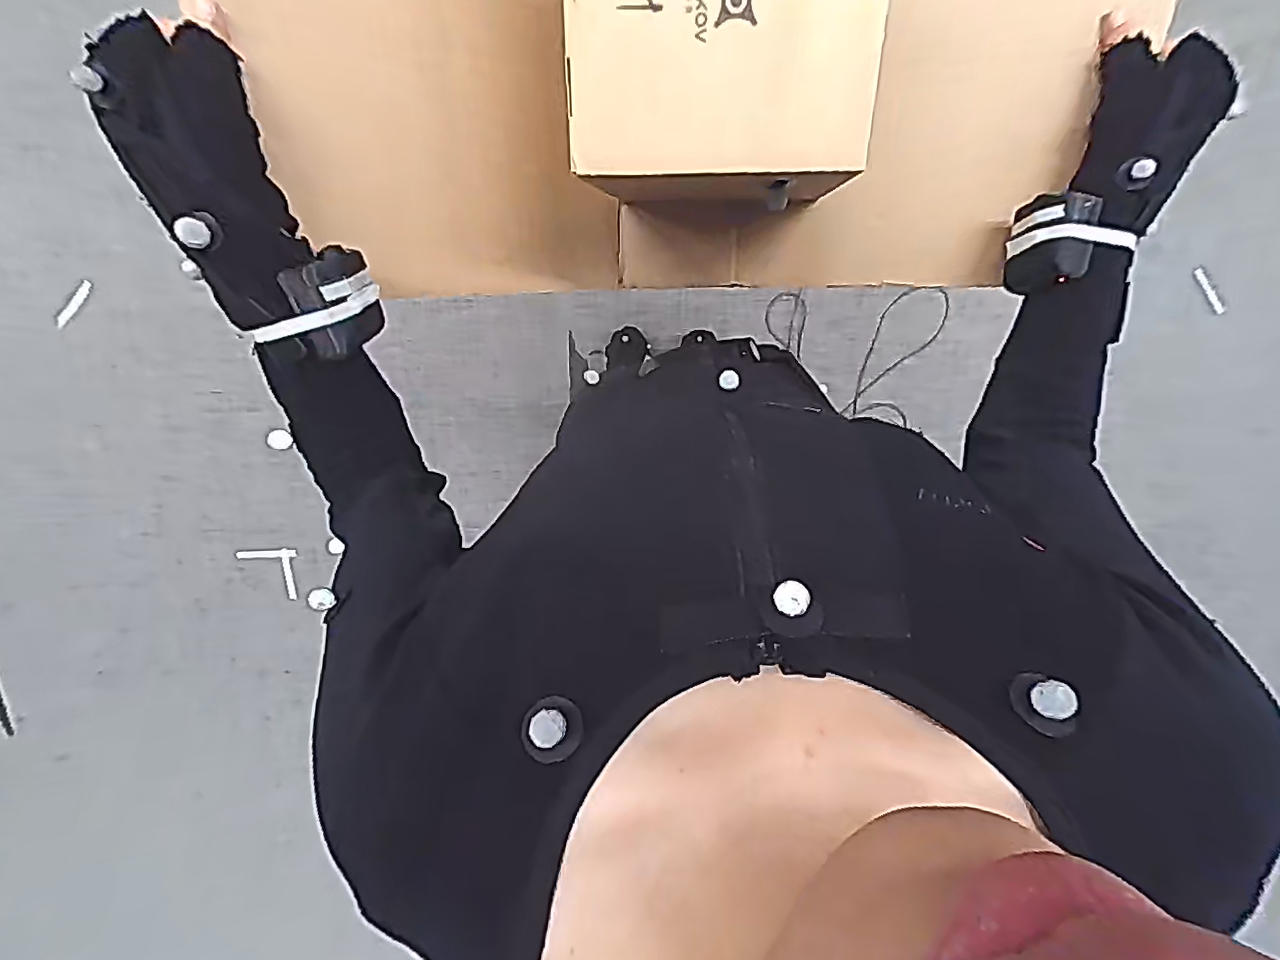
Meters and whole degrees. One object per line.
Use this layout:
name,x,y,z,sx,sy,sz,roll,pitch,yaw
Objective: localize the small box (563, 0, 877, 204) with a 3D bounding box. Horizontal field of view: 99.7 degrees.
small box,0.053,-0.291,0.373,0.179,0.176,0.168,4,112,8
